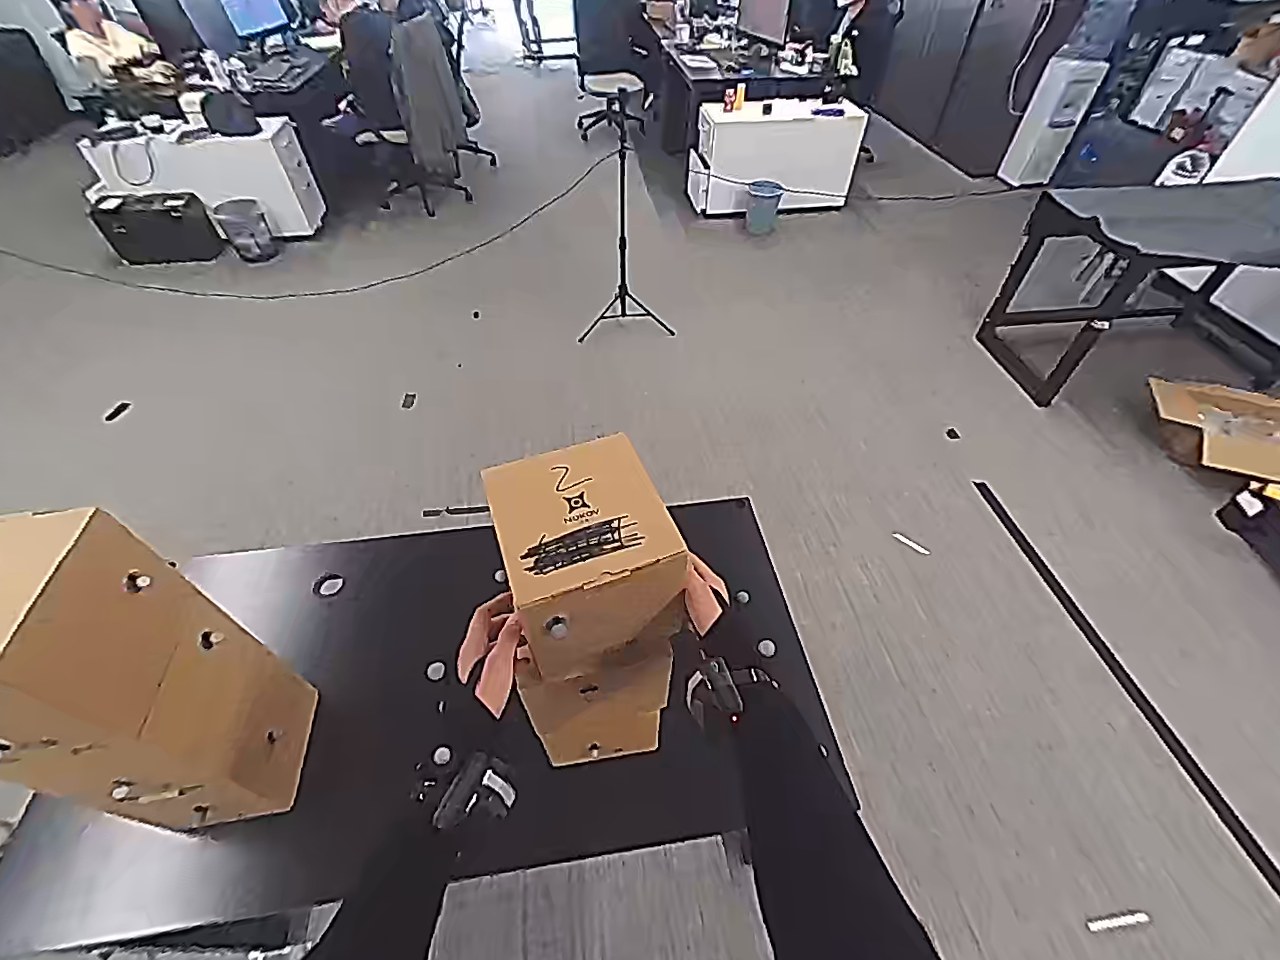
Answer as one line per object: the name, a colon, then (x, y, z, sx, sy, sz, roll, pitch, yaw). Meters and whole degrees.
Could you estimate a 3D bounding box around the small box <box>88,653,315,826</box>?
small box: (-0.593, 0.371, 0.766, 0.168, 0.176, 0.179, -7, 49, -7)

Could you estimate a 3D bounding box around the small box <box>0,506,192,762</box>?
small box: (-0.590, 0.151, 0.523, 0.168, 0.176, 0.179, -8, 49, -6)

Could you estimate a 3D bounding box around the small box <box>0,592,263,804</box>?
small box: (-0.592, 0.259, 0.645, 0.168, 0.176, 0.179, -7, 49, -6)

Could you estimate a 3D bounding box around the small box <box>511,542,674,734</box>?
small box: (-0.062, 0.207, 0.699, 0.179, 0.176, 0.168, -9, 49, -9)

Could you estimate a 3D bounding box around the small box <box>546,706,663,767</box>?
small box: (-0.063, 0.312, 0.825, 0.168, 0.176, 0.179, -7, 49, -6)
